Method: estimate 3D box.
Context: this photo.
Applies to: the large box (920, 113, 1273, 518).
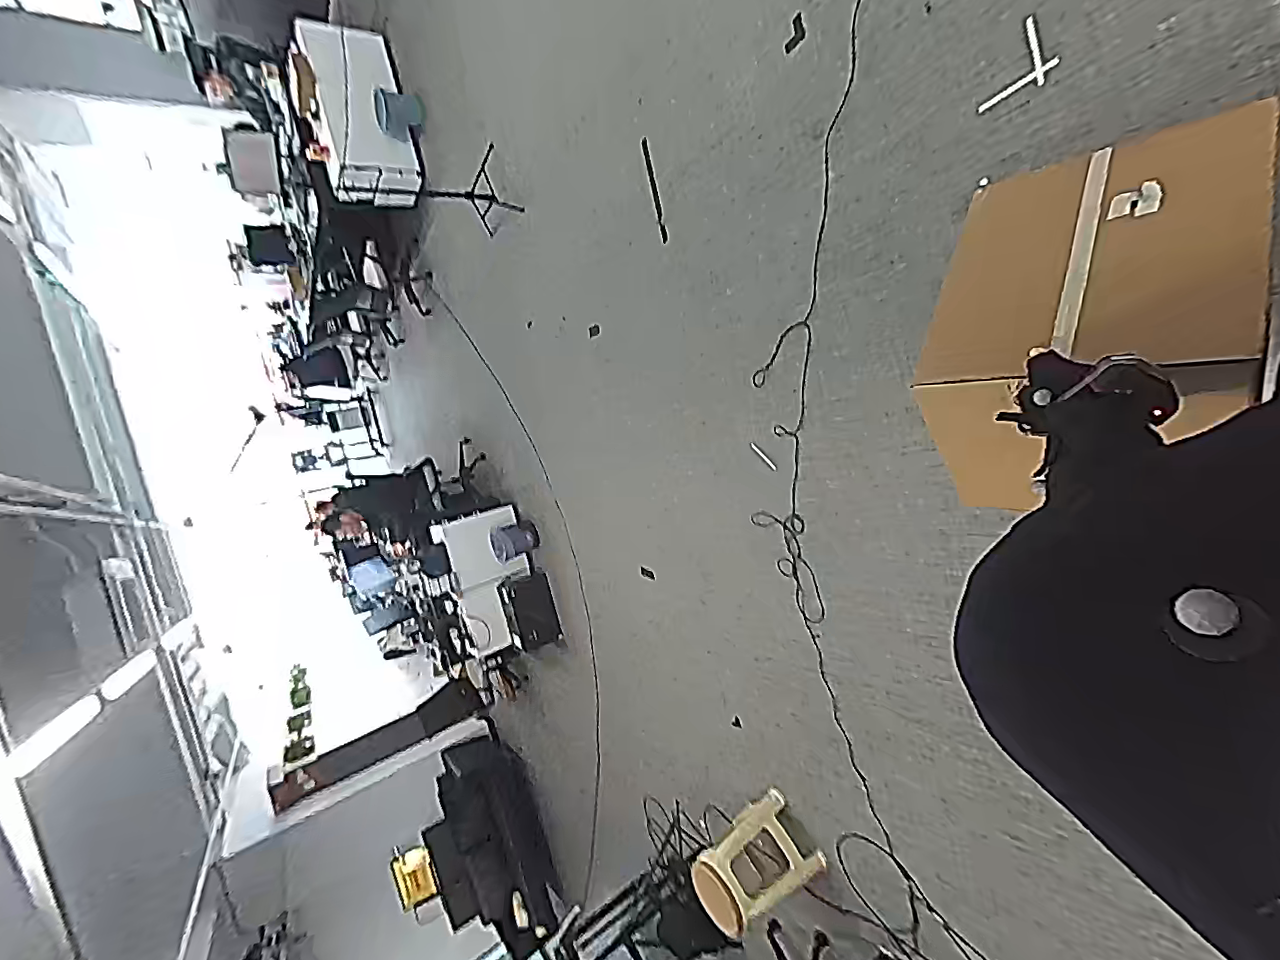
[{"bbox_3d":[0.652,-0.196,0.769,0.320,0.408,0.320,4,149,48],"label":"large box"}]
